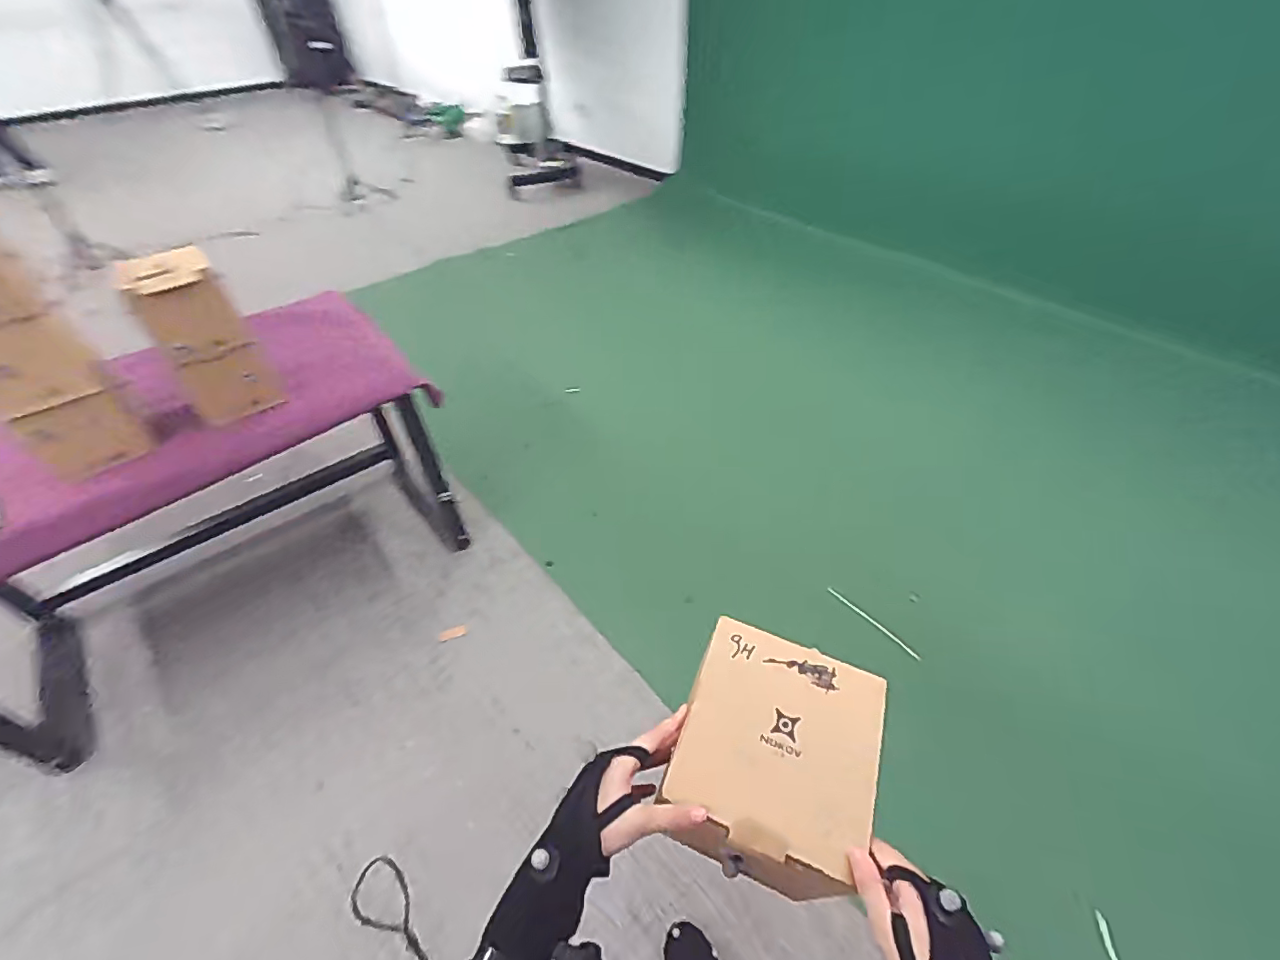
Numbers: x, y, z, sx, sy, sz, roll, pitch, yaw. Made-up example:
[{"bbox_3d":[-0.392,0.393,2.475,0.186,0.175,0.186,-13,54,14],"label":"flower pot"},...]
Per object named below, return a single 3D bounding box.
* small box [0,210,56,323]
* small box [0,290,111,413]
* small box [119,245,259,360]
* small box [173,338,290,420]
[{"bbox_3d":[-1.168,-0.369,0.926,0.179,0.176,0.168,-29,49,-24],"label":"small box"},{"bbox_3d":[-1.174,-0.251,1.042,0.168,0.176,0.179,-30,50,-26],"label":"small box"},{"bbox_3d":[-0.963,-0.379,1.165,0.168,0.176,0.179,-31,50,-27],"label":"small box"},{"bbox_3d":[-0.965,-0.262,1.280,0.168,0.176,0.179,-30,50,-26],"label":"small box"}]
